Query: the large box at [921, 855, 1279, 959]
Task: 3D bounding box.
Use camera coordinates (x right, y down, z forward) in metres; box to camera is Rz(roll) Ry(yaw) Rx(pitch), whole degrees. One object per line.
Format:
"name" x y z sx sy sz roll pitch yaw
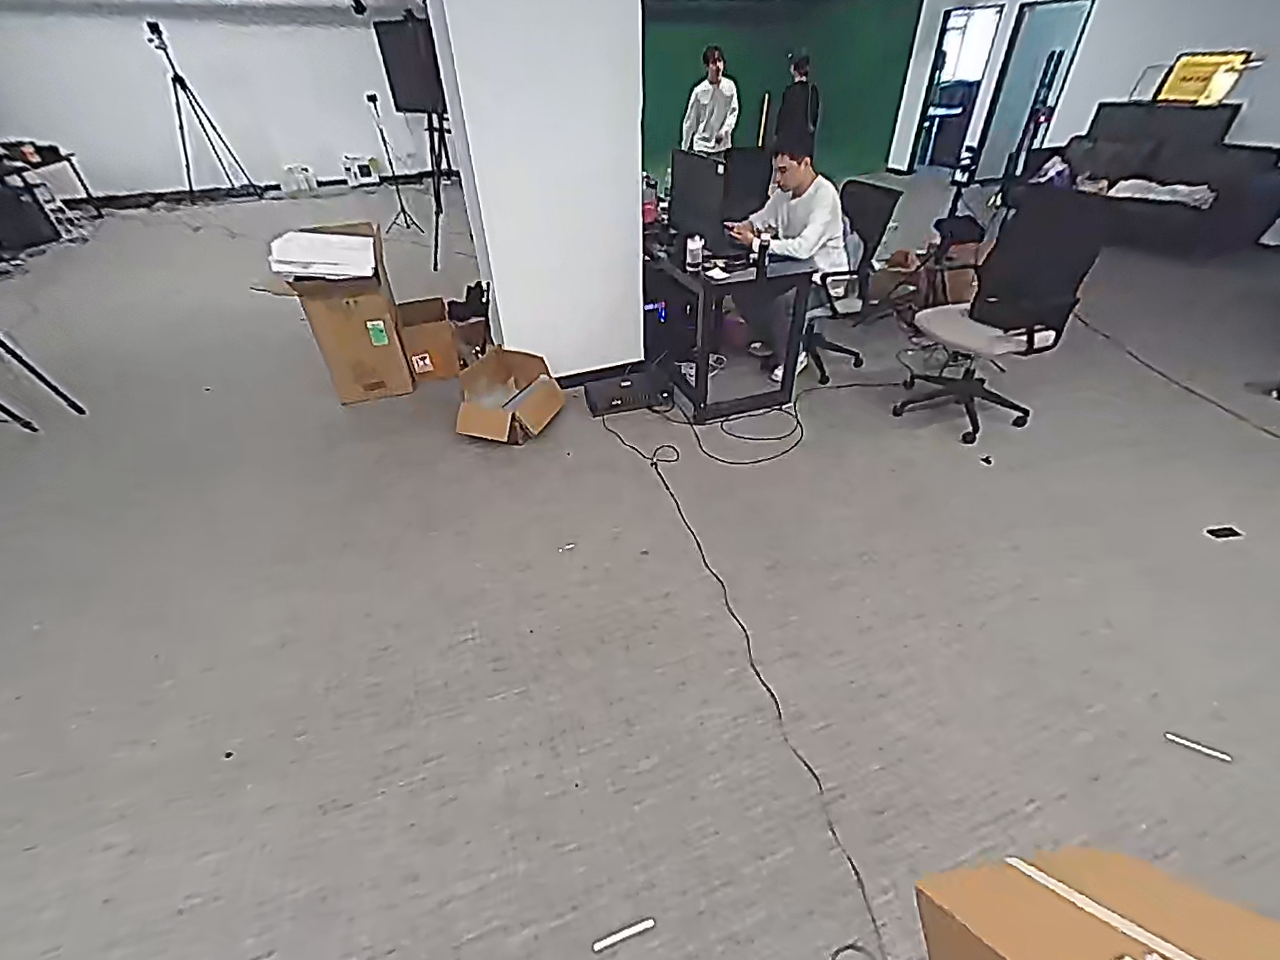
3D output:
"large box" 0.589 0.681 0.586 0.320 0.408 0.320 -5 77 -6
